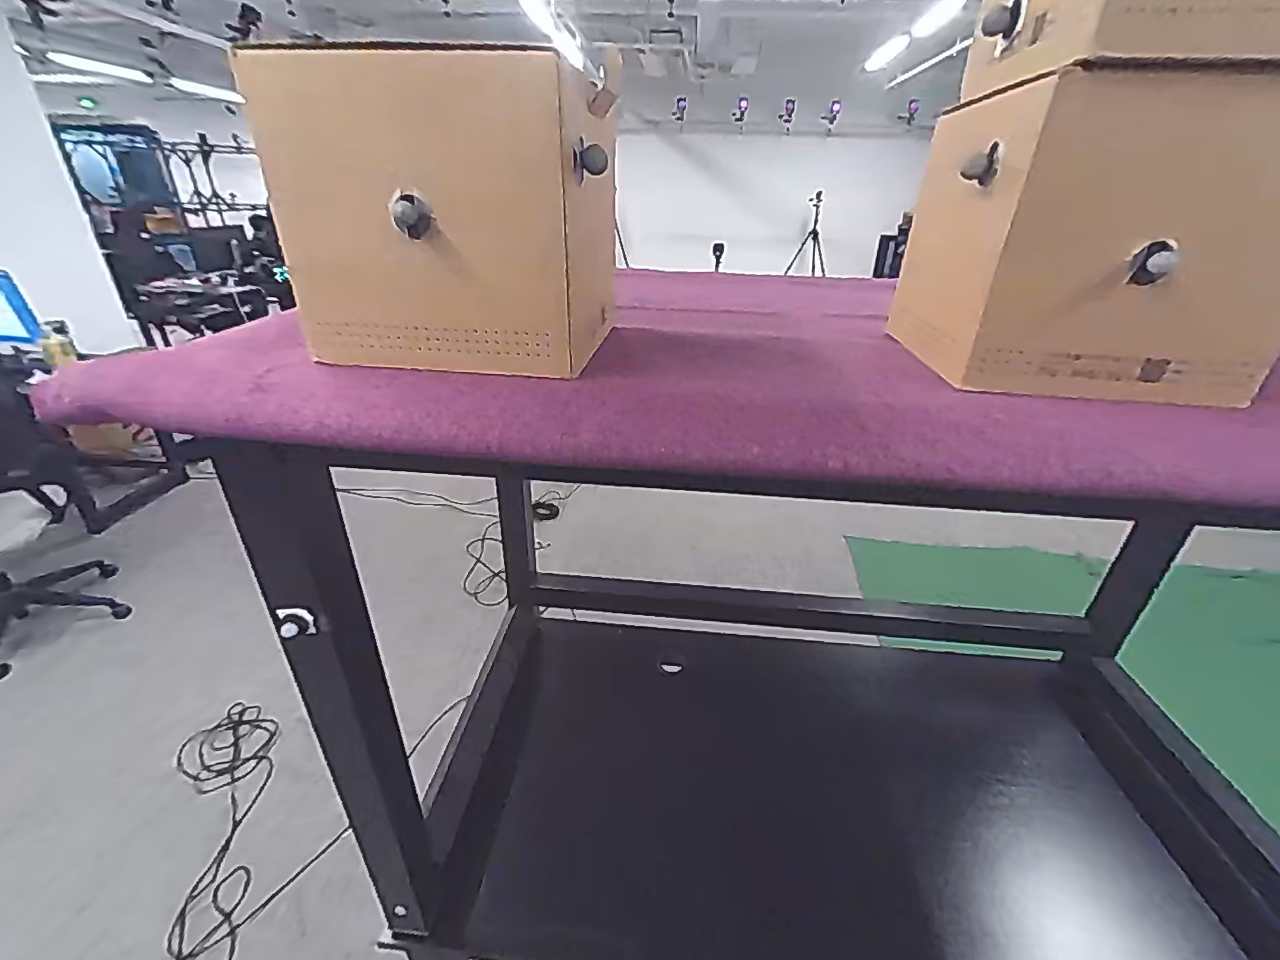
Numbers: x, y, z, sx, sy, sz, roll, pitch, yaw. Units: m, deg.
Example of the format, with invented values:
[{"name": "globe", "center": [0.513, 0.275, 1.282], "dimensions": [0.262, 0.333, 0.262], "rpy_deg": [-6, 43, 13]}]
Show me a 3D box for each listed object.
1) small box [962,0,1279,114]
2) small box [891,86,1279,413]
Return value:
[{"name": "small box", "center": [0.309, -0.291, 0.283], "dimensions": [0.179, 0.176, 0.168], "rpy_deg": [4, 27, 6]}, {"name": "small box", "center": [0.295, -0.154, 0.370], "dimensions": [0.168, 0.176, 0.179], "rpy_deg": [6, 28, 6]}]
